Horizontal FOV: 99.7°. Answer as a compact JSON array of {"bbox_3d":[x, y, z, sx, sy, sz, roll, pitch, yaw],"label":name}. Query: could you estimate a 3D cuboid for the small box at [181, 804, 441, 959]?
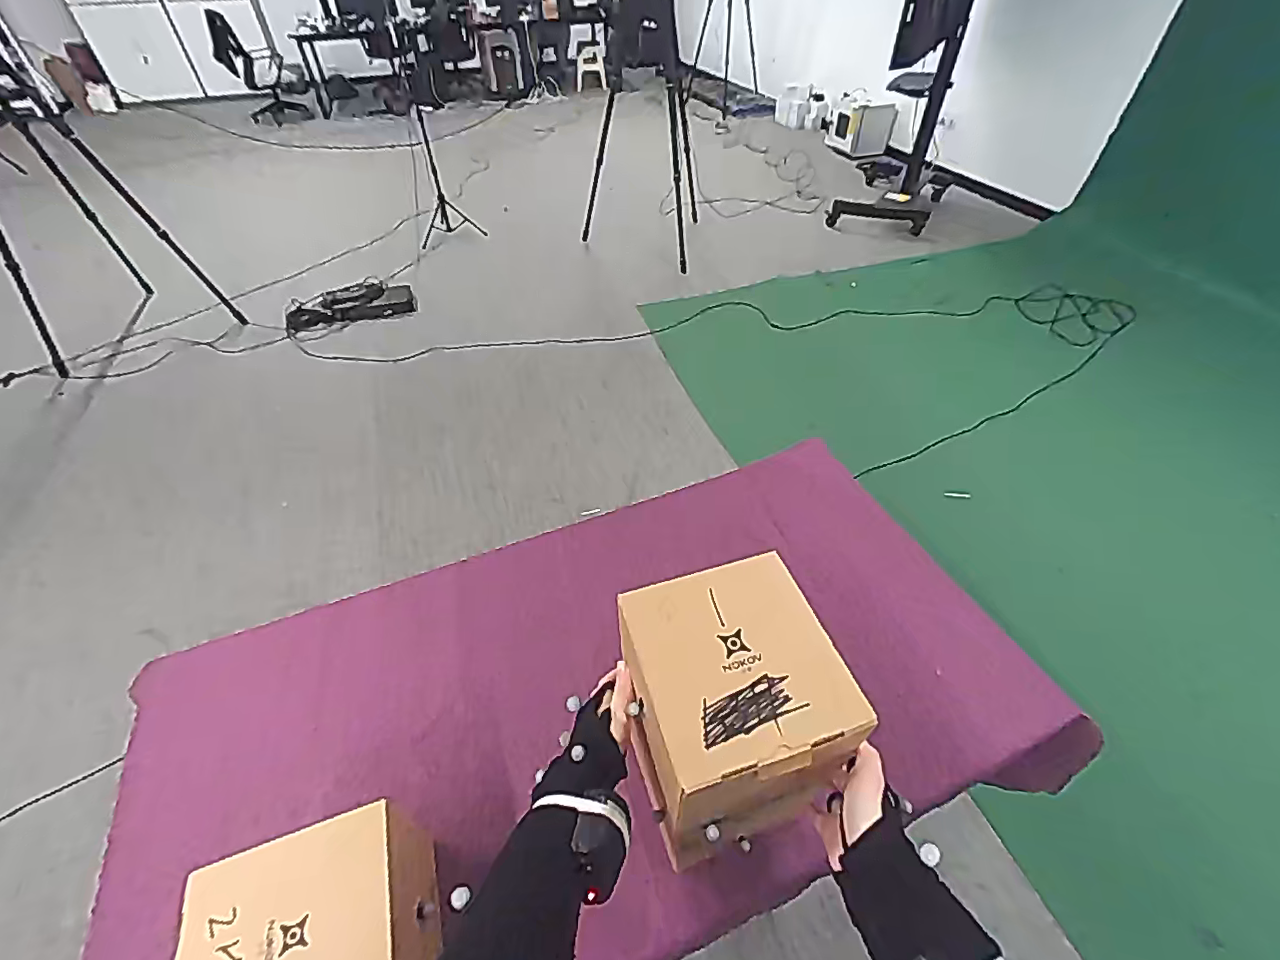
[{"bbox_3d":[-0.302,0.453,0.525,0.179,0.176,0.168,-16,46,-13],"label":"small box"}]
